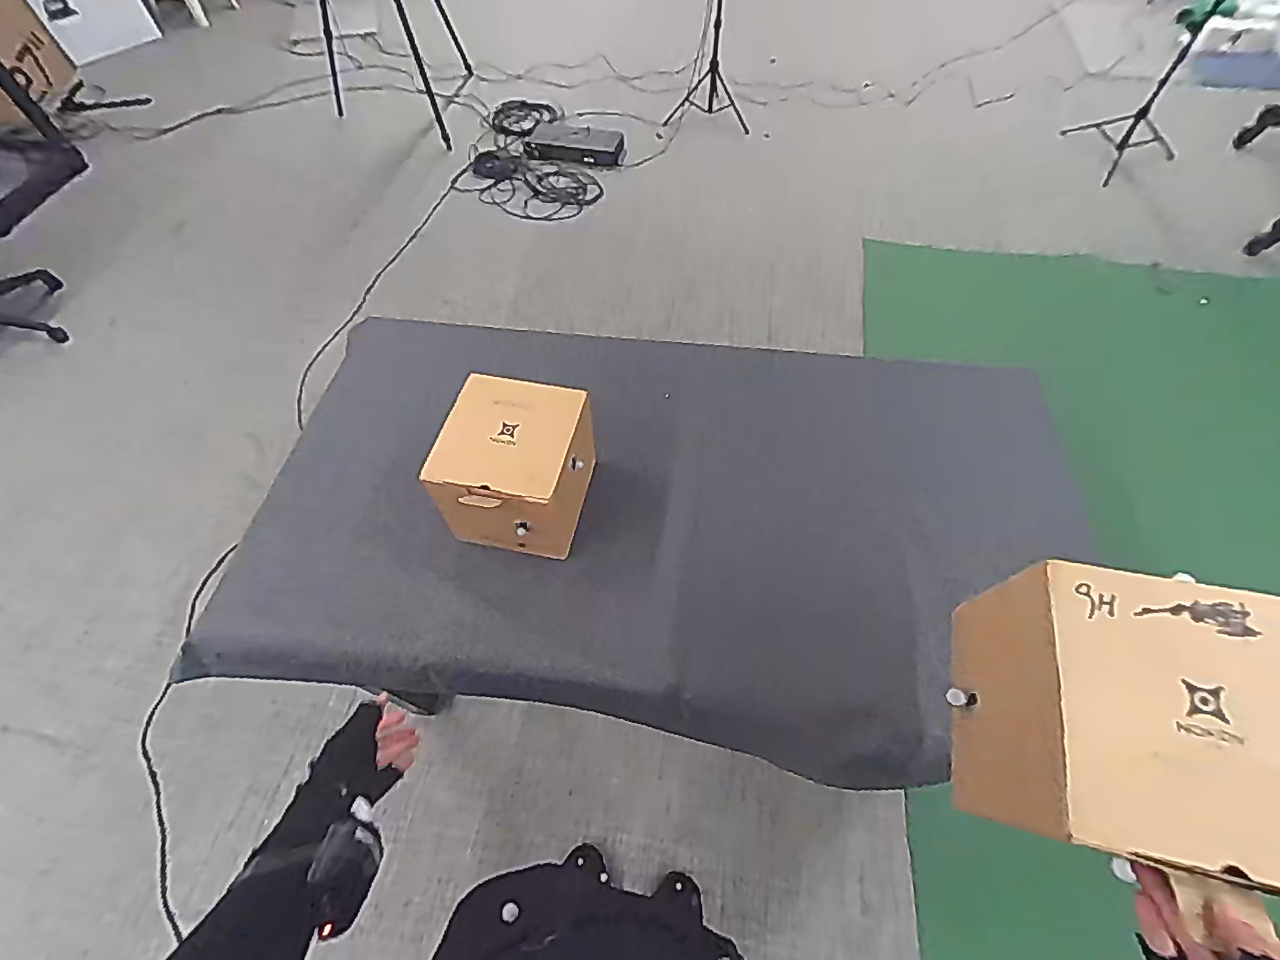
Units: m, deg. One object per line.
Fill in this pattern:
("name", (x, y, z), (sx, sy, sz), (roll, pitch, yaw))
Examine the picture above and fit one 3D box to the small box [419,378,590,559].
("small box", (-0.168, -0.011, 0.743), (0.168, 0.176, 0.179), (10, 57, 5))
